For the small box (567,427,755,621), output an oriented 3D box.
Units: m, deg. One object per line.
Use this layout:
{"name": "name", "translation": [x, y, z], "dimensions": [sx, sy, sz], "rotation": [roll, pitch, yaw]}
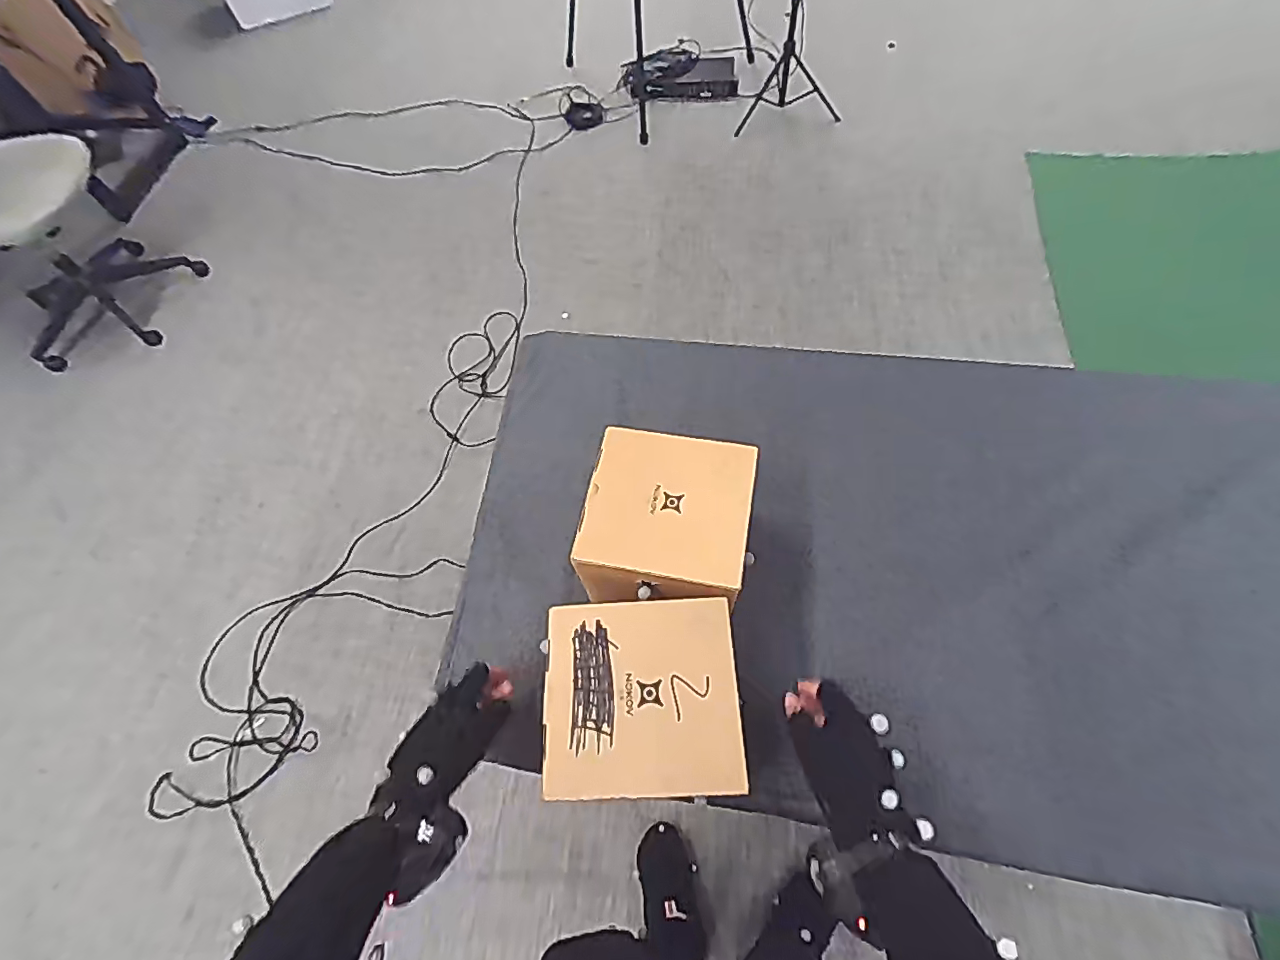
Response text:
{"name": "small box", "translation": [0.032, 0.059, 0.641], "dimensions": [0.179, 0.176, 0.168], "rotation": [8, 63, 10]}
